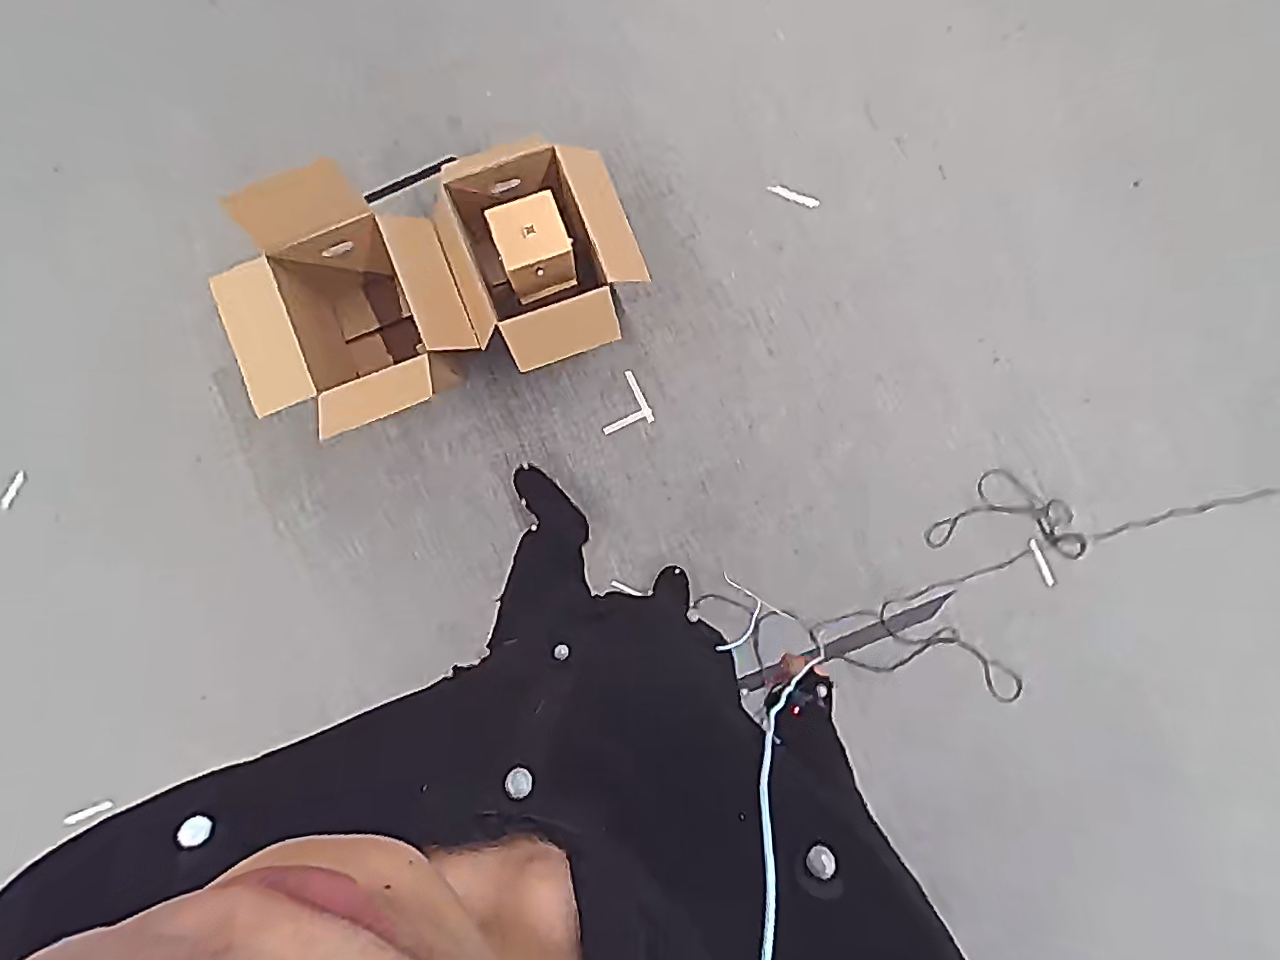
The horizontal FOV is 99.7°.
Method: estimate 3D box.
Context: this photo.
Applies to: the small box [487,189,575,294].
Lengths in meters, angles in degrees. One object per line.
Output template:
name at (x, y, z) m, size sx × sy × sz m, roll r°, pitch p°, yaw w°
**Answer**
small box at (-0.275, -0.615, 1.411) m, size 0.179 × 0.176 × 0.168 m, roll -20°, pitch 89°, yaw -3°
